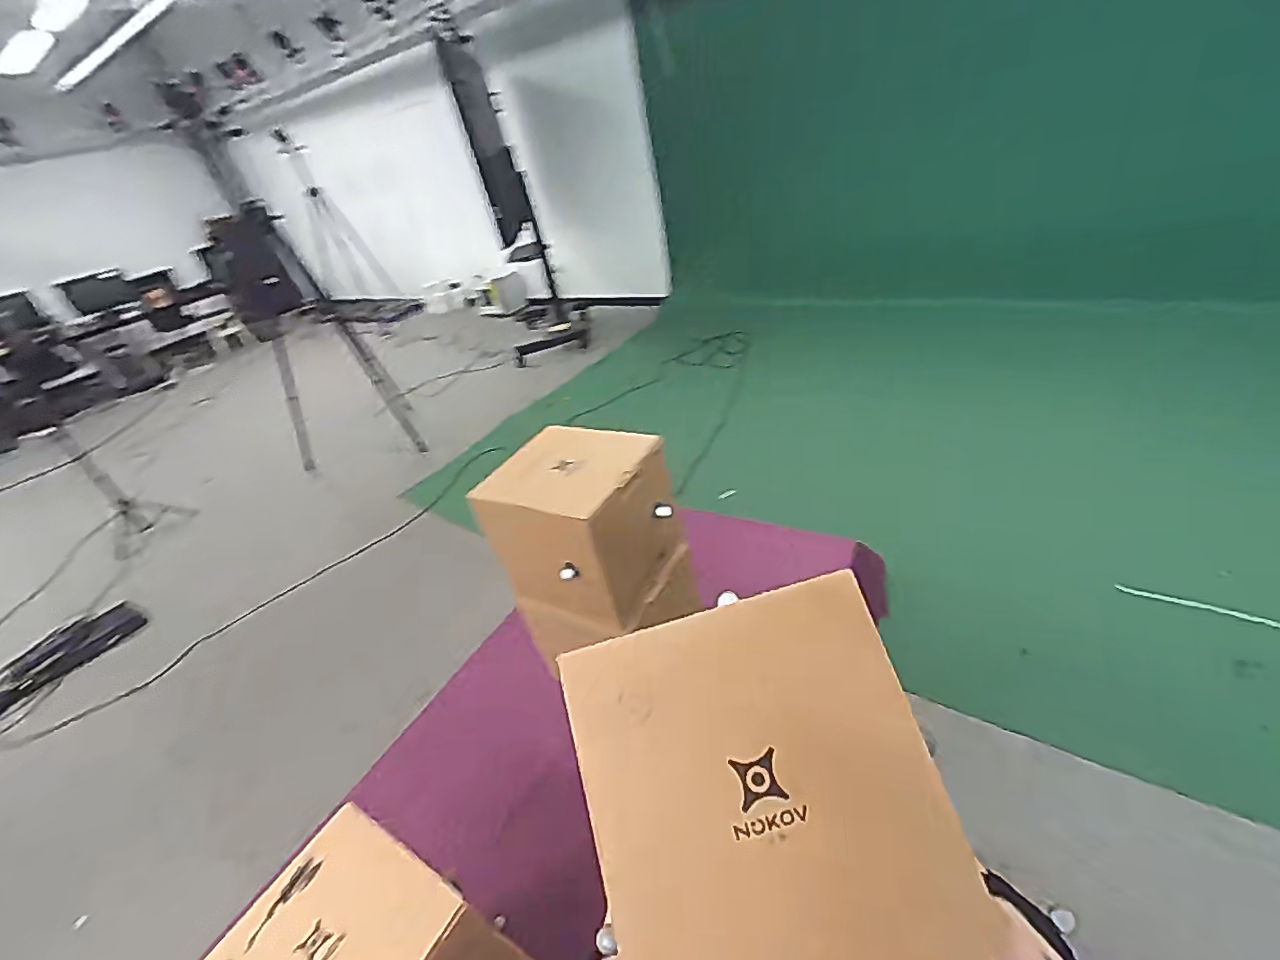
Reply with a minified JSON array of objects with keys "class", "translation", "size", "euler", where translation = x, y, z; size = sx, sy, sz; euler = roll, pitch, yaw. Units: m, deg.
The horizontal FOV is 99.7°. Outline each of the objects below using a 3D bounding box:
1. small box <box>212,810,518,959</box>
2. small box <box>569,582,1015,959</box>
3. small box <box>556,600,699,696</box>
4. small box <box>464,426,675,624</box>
[{"class":"small box","translation":[-0.234,0.439,0.469],"size":[0.179,0.176,0.168],"euler":[11,41,31]},{"class":"small box","translation":[0.066,0.179,0.330],"size":[0.168,0.176,0.179],"euler":[-16,71,0]},{"class":"small box","translation":[0.003,0.315,0.850],"size":[0.179,0.176,0.168],"euler":[11,42,32]},{"class":"small box","translation":[-0.074,0.052,0.670],"size":[0.179,0.176,0.168],"euler":[8,40,31]}]
